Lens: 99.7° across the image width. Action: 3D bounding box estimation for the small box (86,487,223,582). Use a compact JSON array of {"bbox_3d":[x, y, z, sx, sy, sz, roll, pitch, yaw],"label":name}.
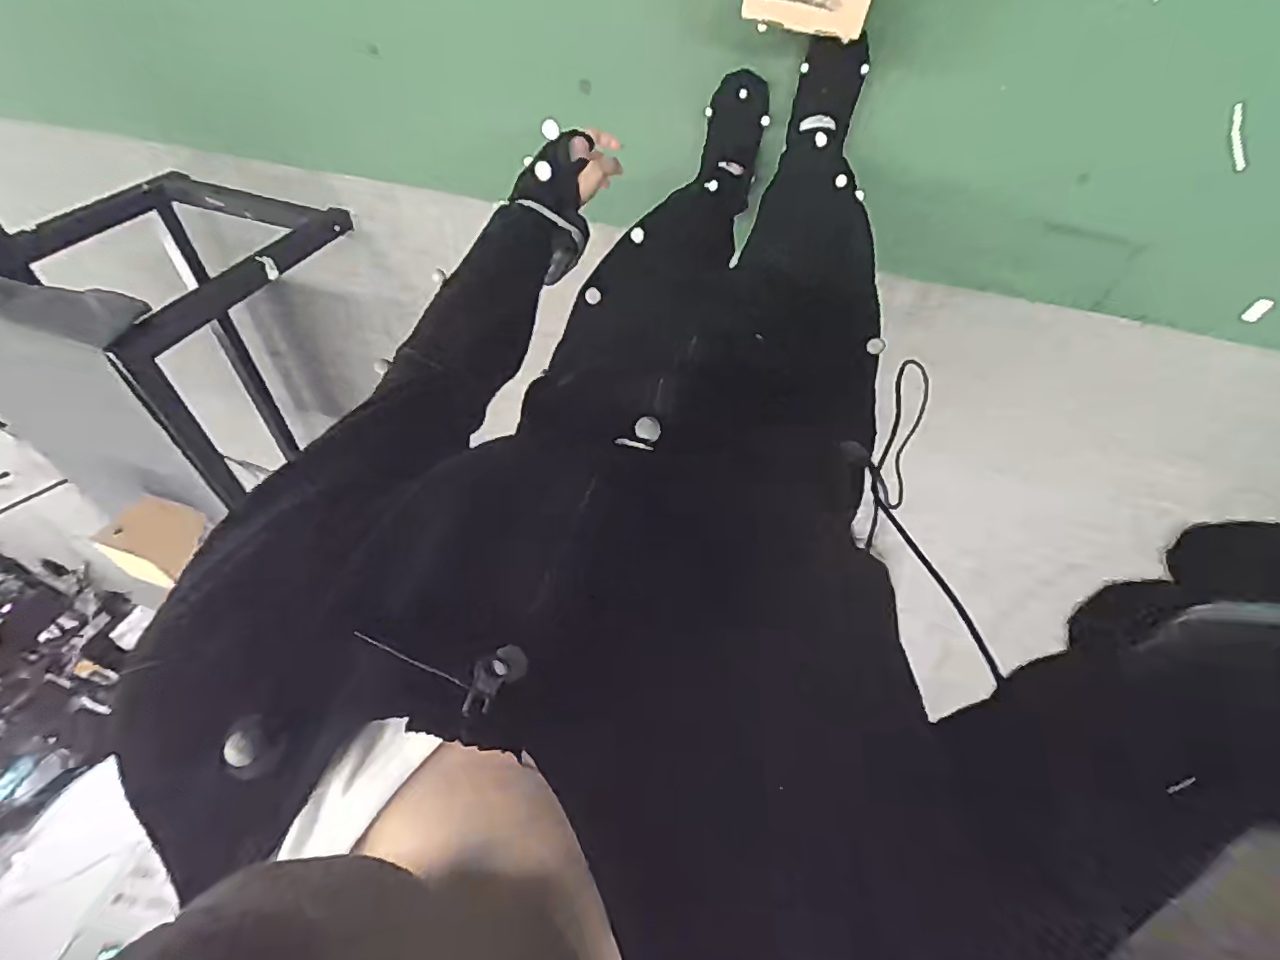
[{"bbox_3d":[-1.286,0.141,1.447,0.179,0.176,0.168,15,140,7],"label":"small box"}]
